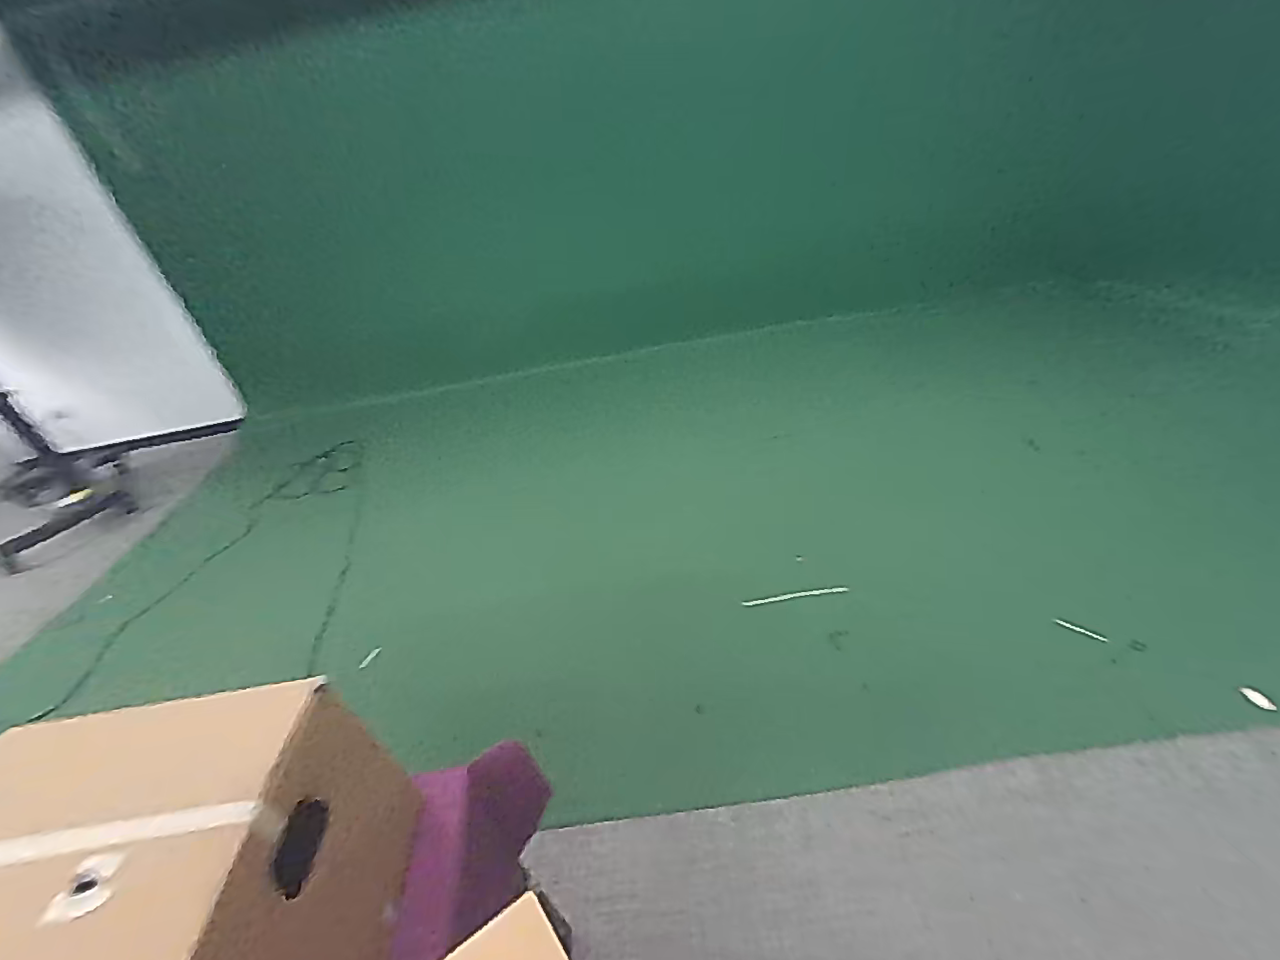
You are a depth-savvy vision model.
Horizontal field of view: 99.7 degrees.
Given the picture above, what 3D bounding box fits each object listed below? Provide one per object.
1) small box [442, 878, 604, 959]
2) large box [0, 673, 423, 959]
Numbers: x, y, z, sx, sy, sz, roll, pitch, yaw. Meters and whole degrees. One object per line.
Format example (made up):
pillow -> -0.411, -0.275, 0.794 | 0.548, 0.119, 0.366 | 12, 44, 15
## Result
small box -> -0.076, 0.429, 0.349 | 0.168, 0.176, 0.179 | -21, 32, -30
large box -> -0.535, 0.476, 0.629 | 0.408, 0.320, 0.320 | -9, 35, 1
